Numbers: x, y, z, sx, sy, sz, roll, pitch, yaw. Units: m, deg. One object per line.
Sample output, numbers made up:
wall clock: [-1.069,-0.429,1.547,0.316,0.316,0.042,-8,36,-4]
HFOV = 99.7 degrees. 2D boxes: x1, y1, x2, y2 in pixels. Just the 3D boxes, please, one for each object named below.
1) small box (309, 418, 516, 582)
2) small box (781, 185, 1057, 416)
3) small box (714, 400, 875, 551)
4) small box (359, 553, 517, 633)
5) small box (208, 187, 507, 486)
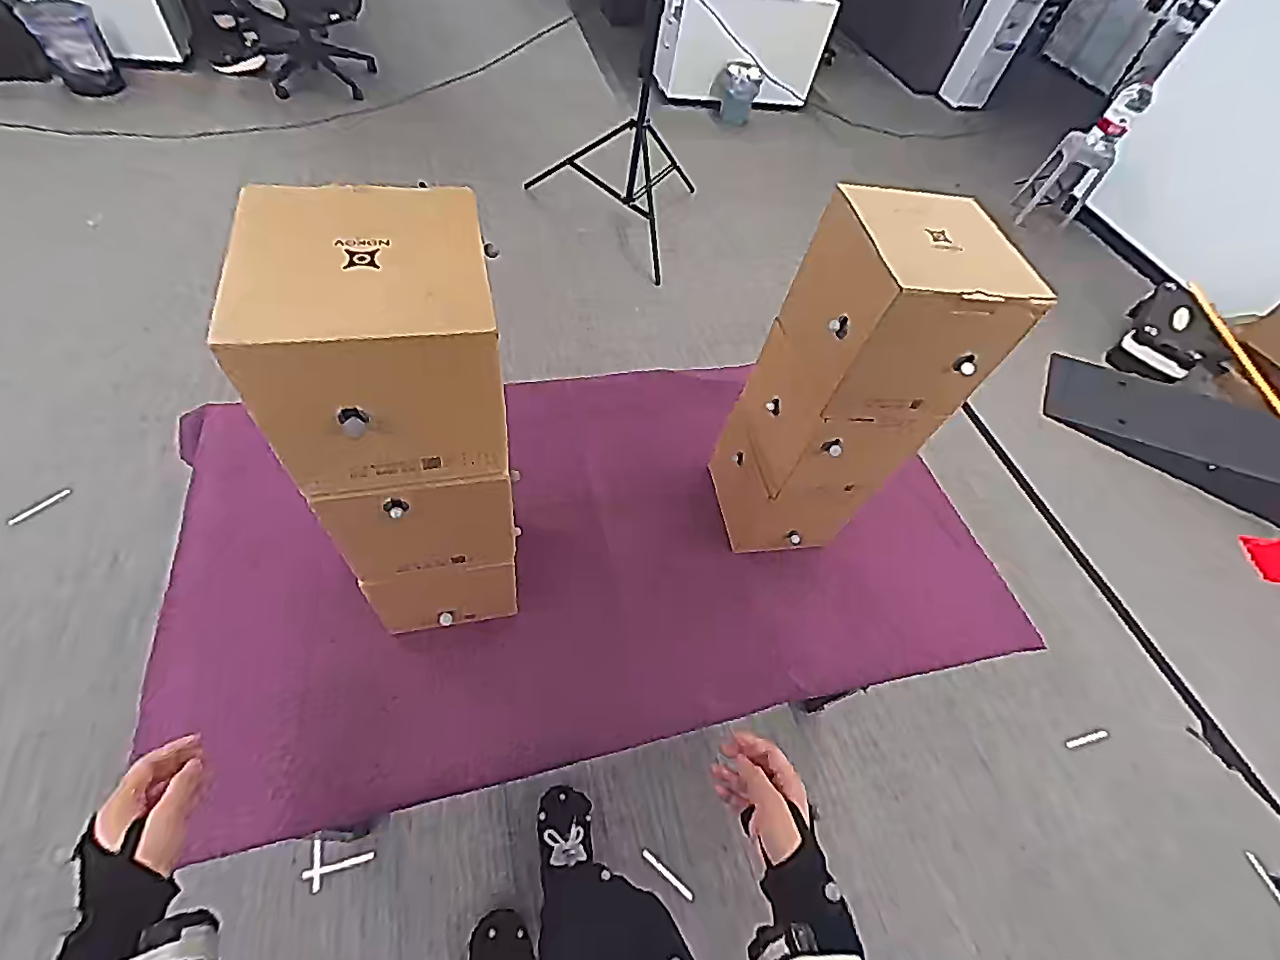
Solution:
small box: [-0.225,-0.015,0.570,0.168,0.176,0.179,-7,57,-15]
small box: [0.274,-0.183,0.580,0.168,0.176,0.179,-1,55,-12]
small box: [0.227,-0.006,0.851,0.168,0.176,0.179,-3,57,-12]
small box: [-0.251,0.078,0.702,0.168,0.176,0.179,-6,58,-15]
small box: [-0.204,-0.108,0.438,0.168,0.176,0.179,-8,58,-16]
